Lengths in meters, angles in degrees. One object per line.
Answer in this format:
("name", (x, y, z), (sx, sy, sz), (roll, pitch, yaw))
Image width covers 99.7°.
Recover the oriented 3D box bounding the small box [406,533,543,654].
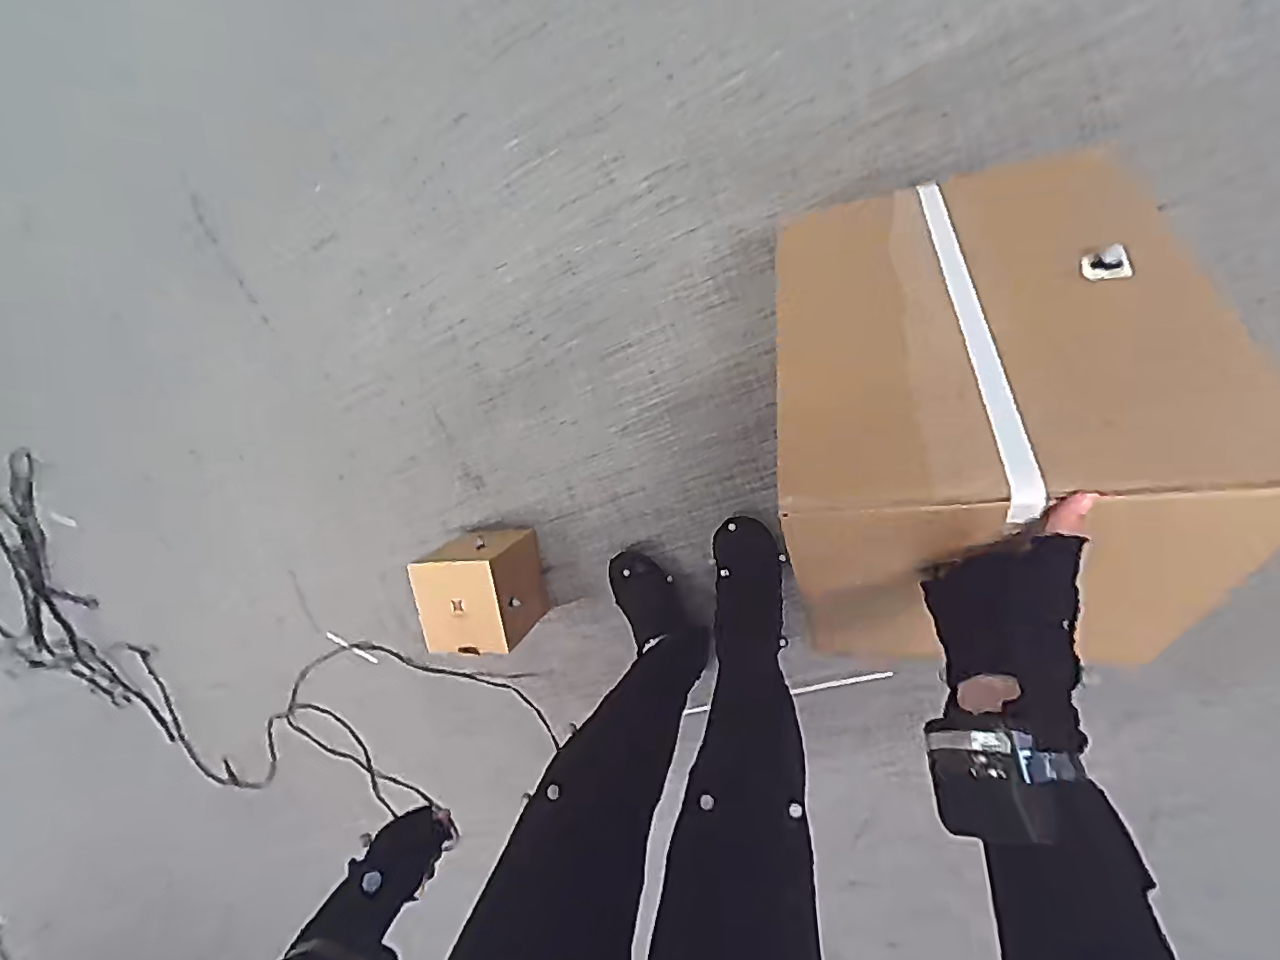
("small box", (-0.300, 0.205, 1.012), (0.168, 0.176, 0.179), (-5, 103, 16))
